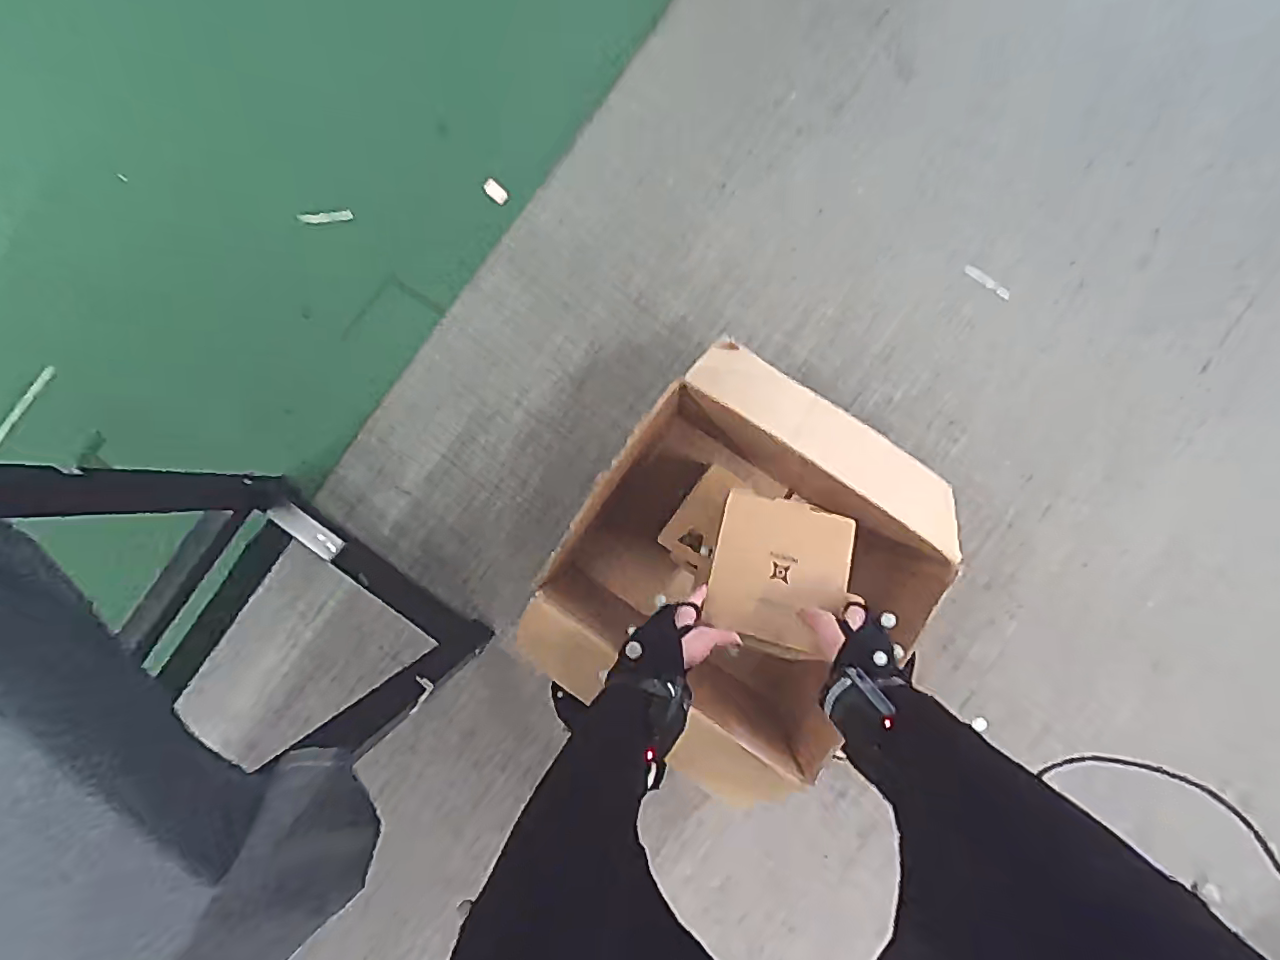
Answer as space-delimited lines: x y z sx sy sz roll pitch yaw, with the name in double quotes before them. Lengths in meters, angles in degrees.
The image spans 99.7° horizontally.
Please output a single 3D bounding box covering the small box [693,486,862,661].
"small box" 0.171 0.130 0.712 0.168 0.176 0.179 13 71 3
